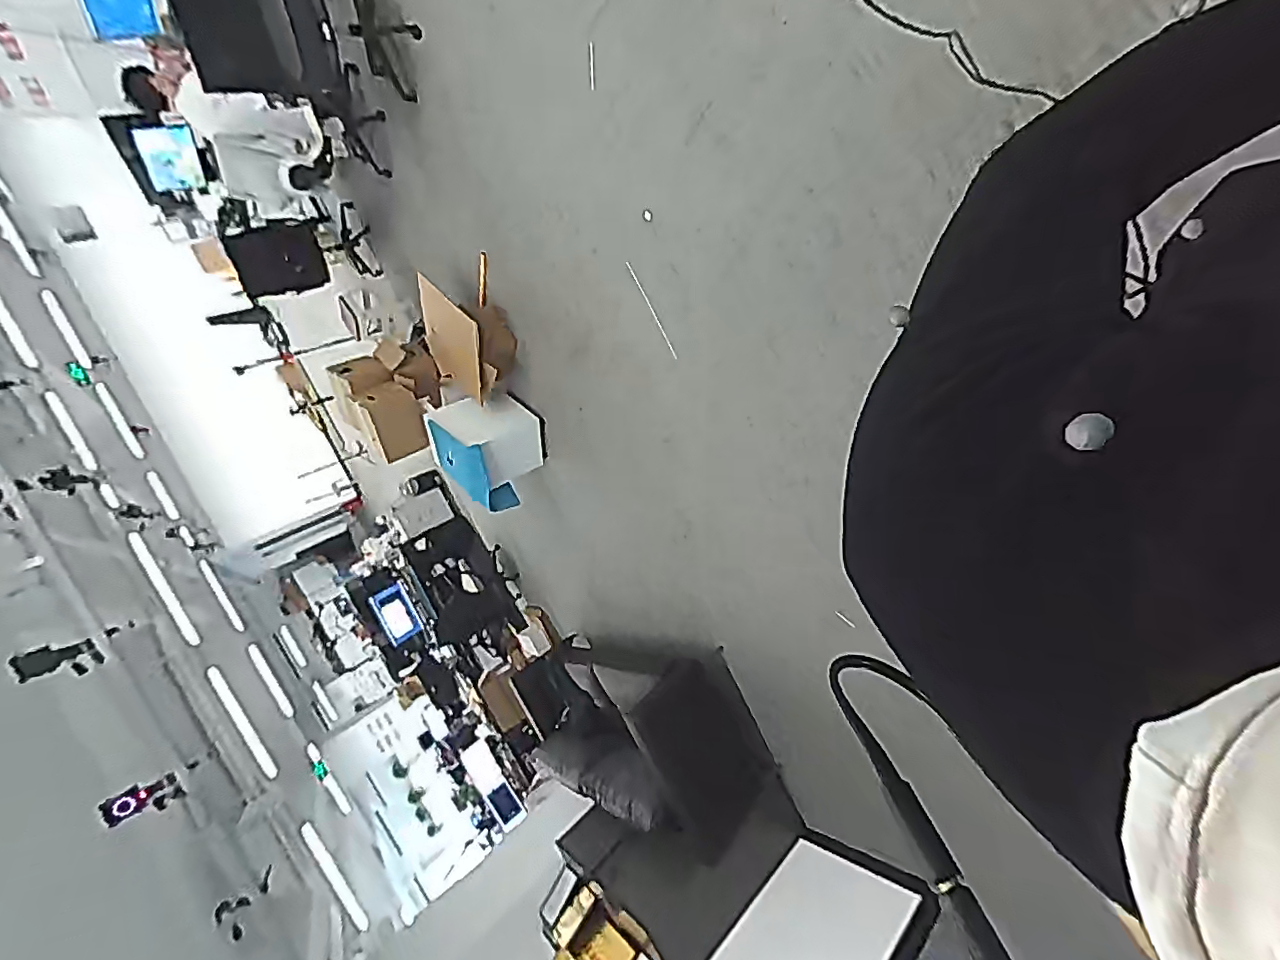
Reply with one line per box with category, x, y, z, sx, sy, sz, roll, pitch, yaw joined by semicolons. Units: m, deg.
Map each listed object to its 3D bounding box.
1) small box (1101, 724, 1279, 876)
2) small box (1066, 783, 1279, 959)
small box;0.921;0.524;0.888;0.179;0.176;0.168;56;148;8
small box;0.798;0.590;0.803;0.179;0.176;0.168;54;146;9
